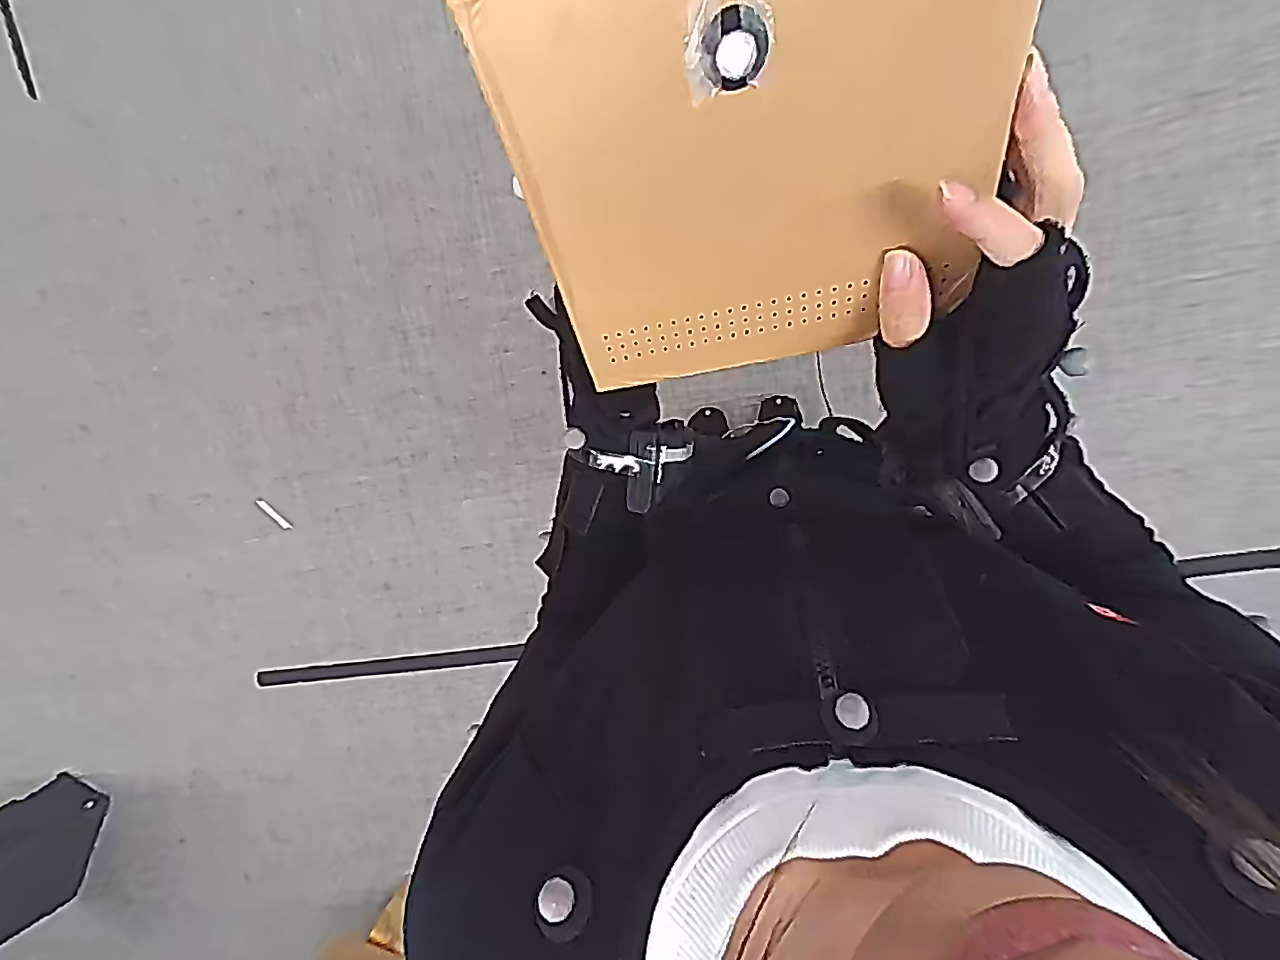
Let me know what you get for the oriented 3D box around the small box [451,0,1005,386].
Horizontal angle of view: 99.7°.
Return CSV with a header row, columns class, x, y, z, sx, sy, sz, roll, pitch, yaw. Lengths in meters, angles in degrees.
class,x,y,z,sx,sy,sz,roll,pitch,yaw
small box,0.046,-0.165,0.259,0.179,0.168,0.176,-8,138,11
